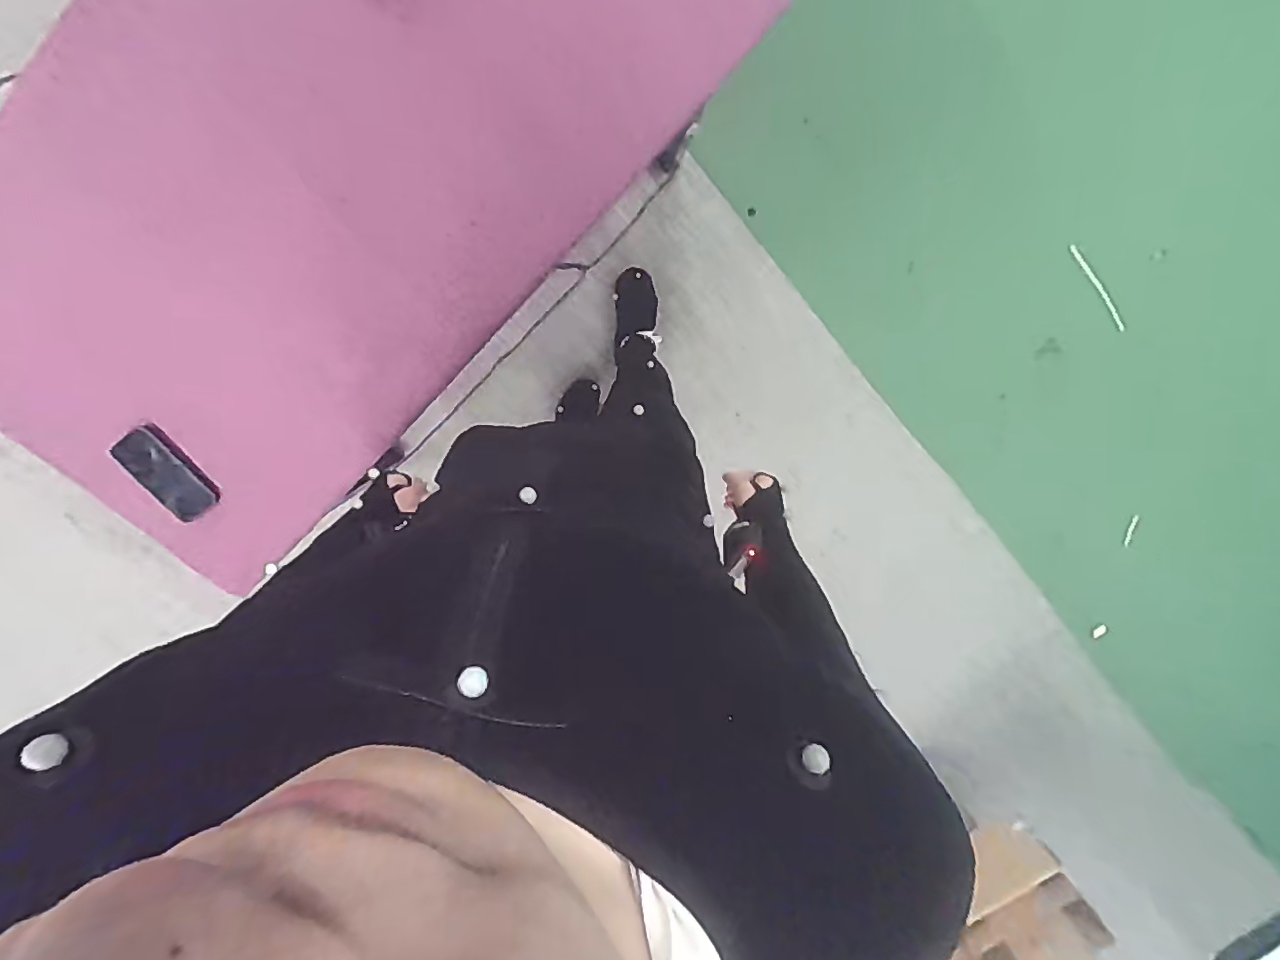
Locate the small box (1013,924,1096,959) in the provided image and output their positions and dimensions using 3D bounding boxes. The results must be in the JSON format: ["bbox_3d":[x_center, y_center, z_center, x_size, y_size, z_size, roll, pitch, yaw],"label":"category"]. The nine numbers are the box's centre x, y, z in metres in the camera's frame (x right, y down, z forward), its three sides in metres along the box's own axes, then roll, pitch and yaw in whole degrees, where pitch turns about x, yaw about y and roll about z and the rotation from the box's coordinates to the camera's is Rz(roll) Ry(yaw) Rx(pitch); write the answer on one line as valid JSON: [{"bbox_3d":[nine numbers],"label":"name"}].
[{"bbox_3d":[1.110,1.293,1.375,0.168,0.176,0.179,-41,104,7],"label":"small box"}]
